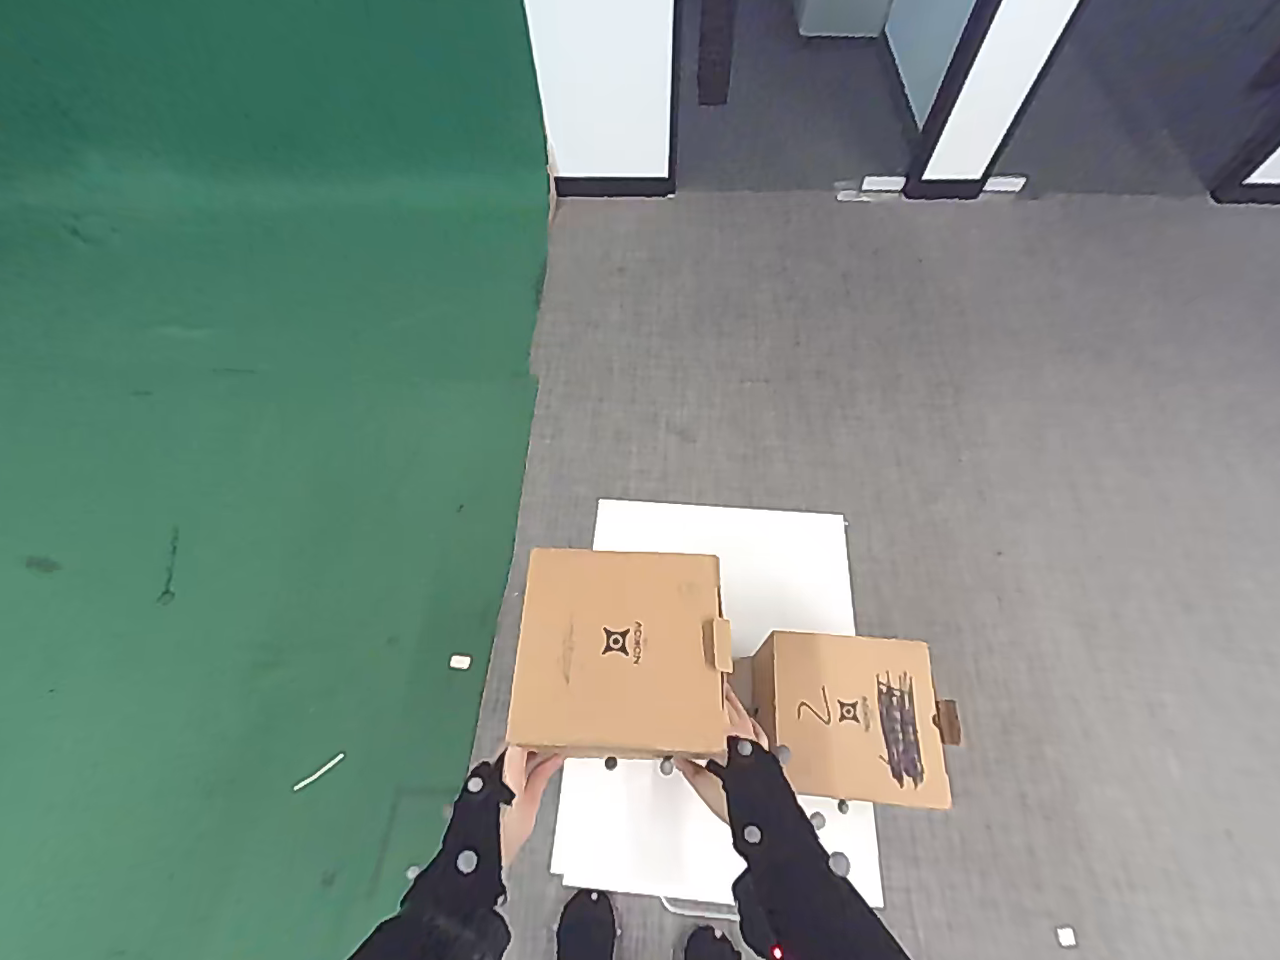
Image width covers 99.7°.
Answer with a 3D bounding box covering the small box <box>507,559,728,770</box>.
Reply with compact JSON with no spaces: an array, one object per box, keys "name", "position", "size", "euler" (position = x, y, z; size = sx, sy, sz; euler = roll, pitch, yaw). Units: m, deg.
[{"name":"small box","position":[-0.016,0.186,0.530],"size":[0.179,0.176,0.168],"euler":[1,60,1]}]
